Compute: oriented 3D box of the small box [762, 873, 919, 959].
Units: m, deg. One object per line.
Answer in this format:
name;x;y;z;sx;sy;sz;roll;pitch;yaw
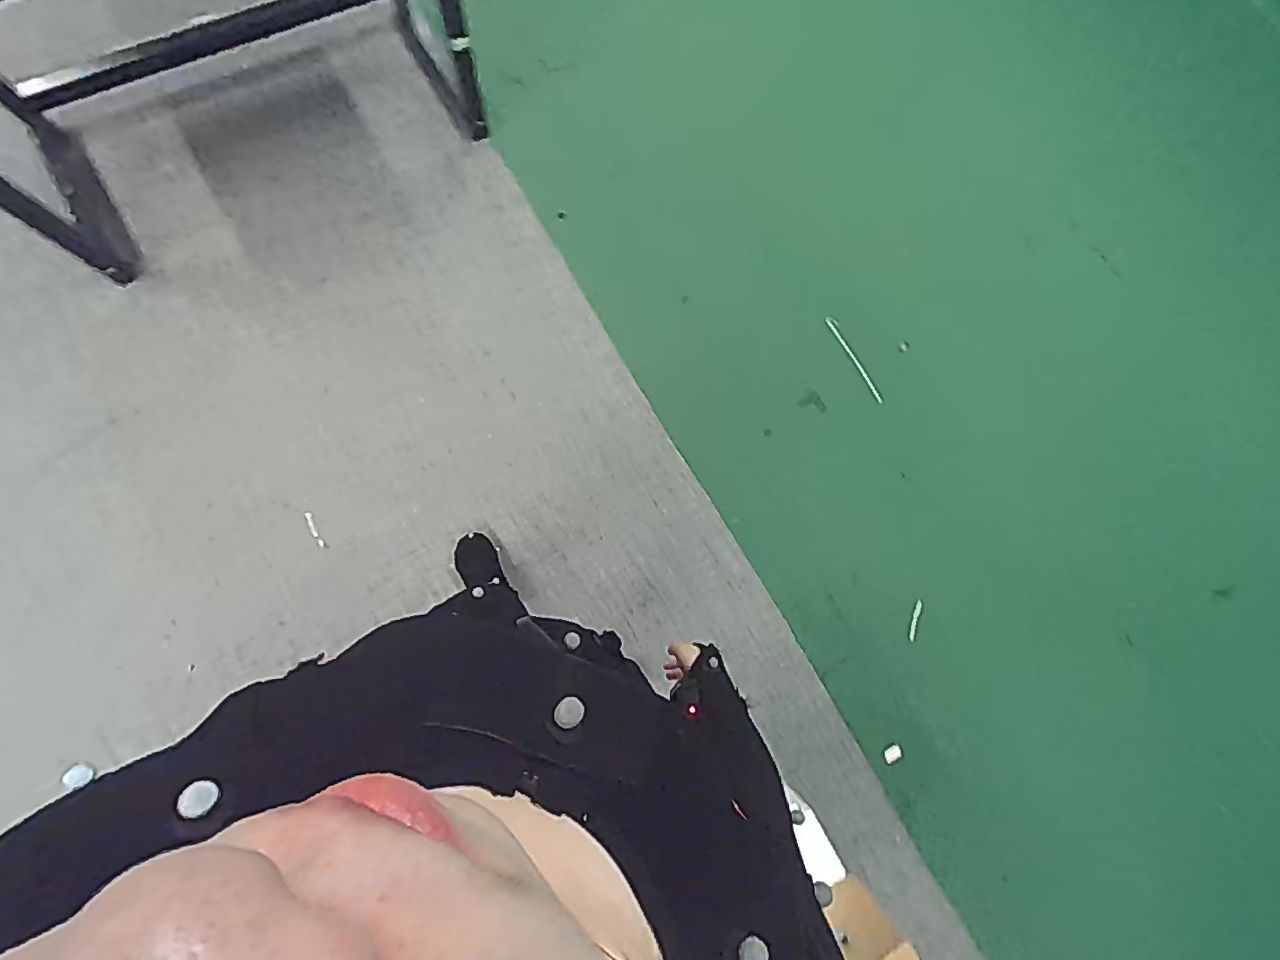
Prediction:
small box;0.308;0.729;0.785;0.179;0.176;0.168;-28;83;-10
